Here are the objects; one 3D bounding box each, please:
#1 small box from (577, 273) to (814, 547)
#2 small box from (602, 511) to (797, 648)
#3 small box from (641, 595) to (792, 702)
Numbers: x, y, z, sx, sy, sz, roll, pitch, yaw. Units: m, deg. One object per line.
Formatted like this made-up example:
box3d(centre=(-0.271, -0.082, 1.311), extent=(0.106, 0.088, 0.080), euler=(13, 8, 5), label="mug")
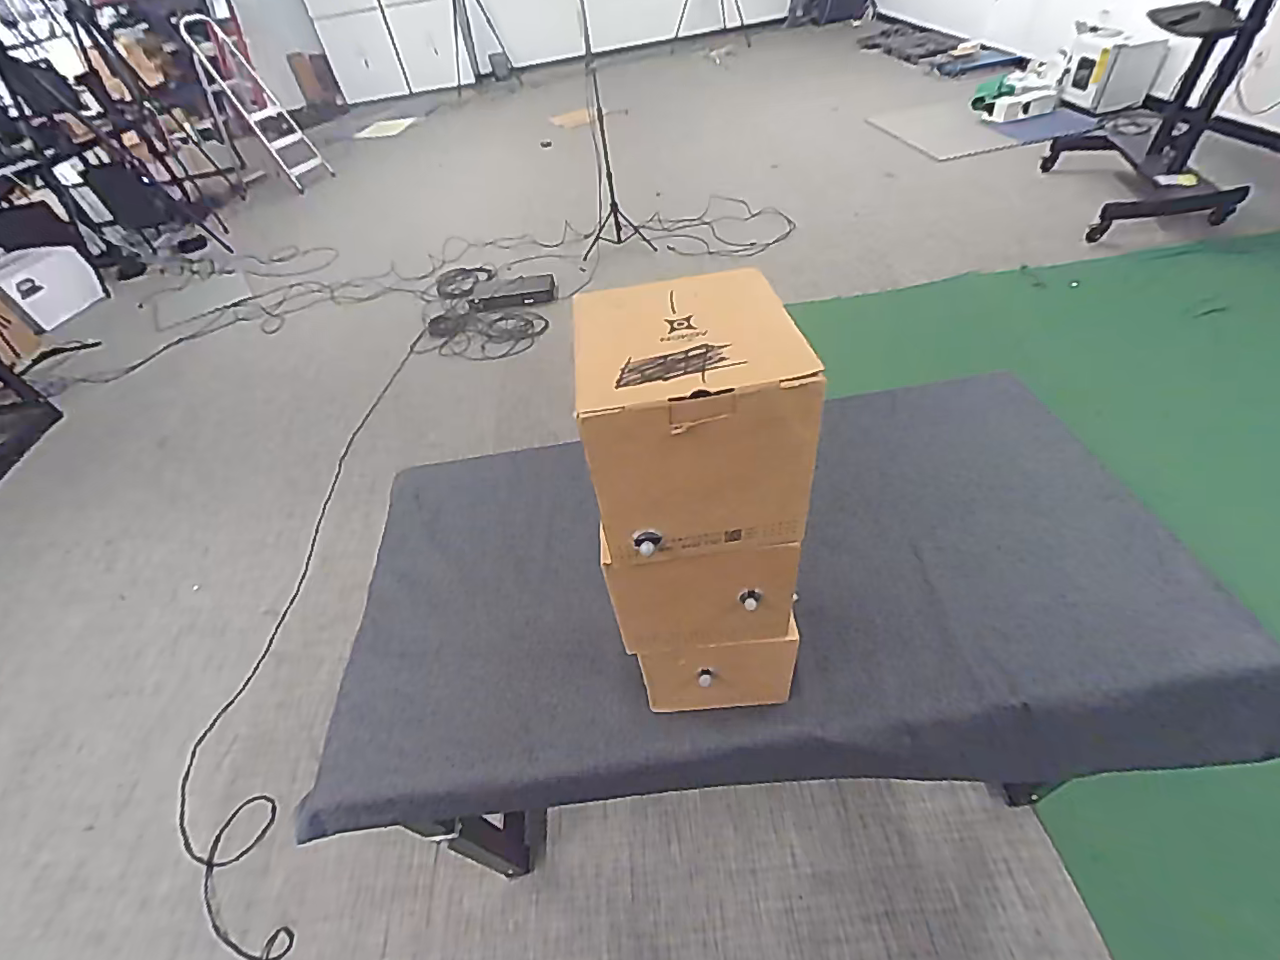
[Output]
box3d(centre=(0.041, -0.056, 0.476), extent=(0.168, 0.176, 0.179), euler=(-8, 43, 0), label="small box")
box3d(centre=(0.058, 0.063, 0.589), extent=(0.179, 0.176, 0.168), euler=(-8, 44, 3), label="small box")
box3d(centre=(0.090, 0.174, 0.702), extent=(0.179, 0.176, 0.168), euler=(-6, 46, 4), label="small box")
